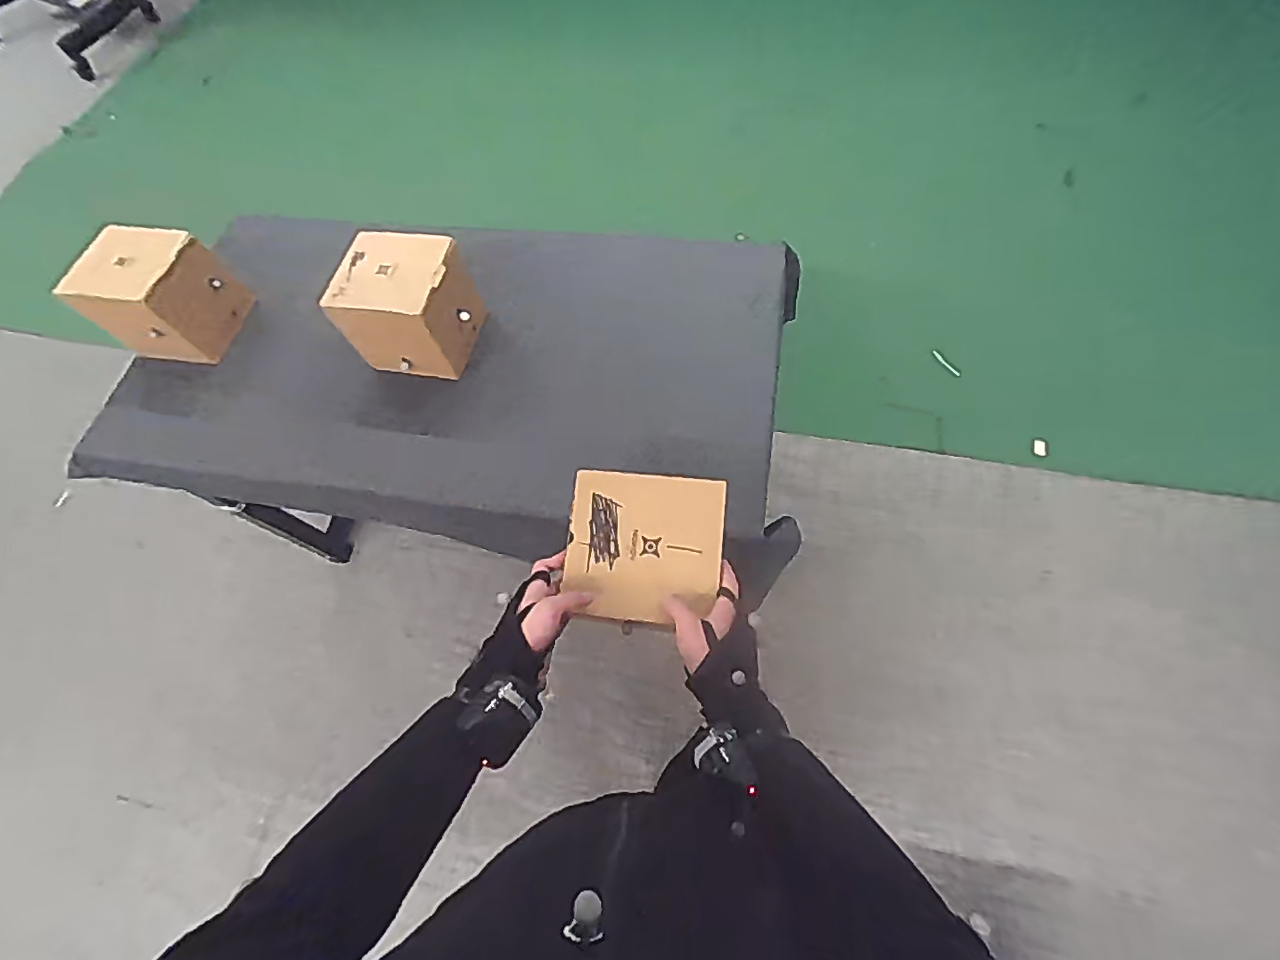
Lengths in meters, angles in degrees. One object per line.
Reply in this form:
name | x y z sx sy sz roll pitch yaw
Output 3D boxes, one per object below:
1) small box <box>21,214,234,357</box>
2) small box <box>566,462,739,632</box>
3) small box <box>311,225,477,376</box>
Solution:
small box | -0.876 -0.335 0.949 0.179 0.176 0.168 6 63 6
small box | 0.019 0.090 0.661 0.179 0.176 0.168 5 71 3
small box | -0.398 -0.296 0.913 0.179 0.176 0.168 9 64 6
